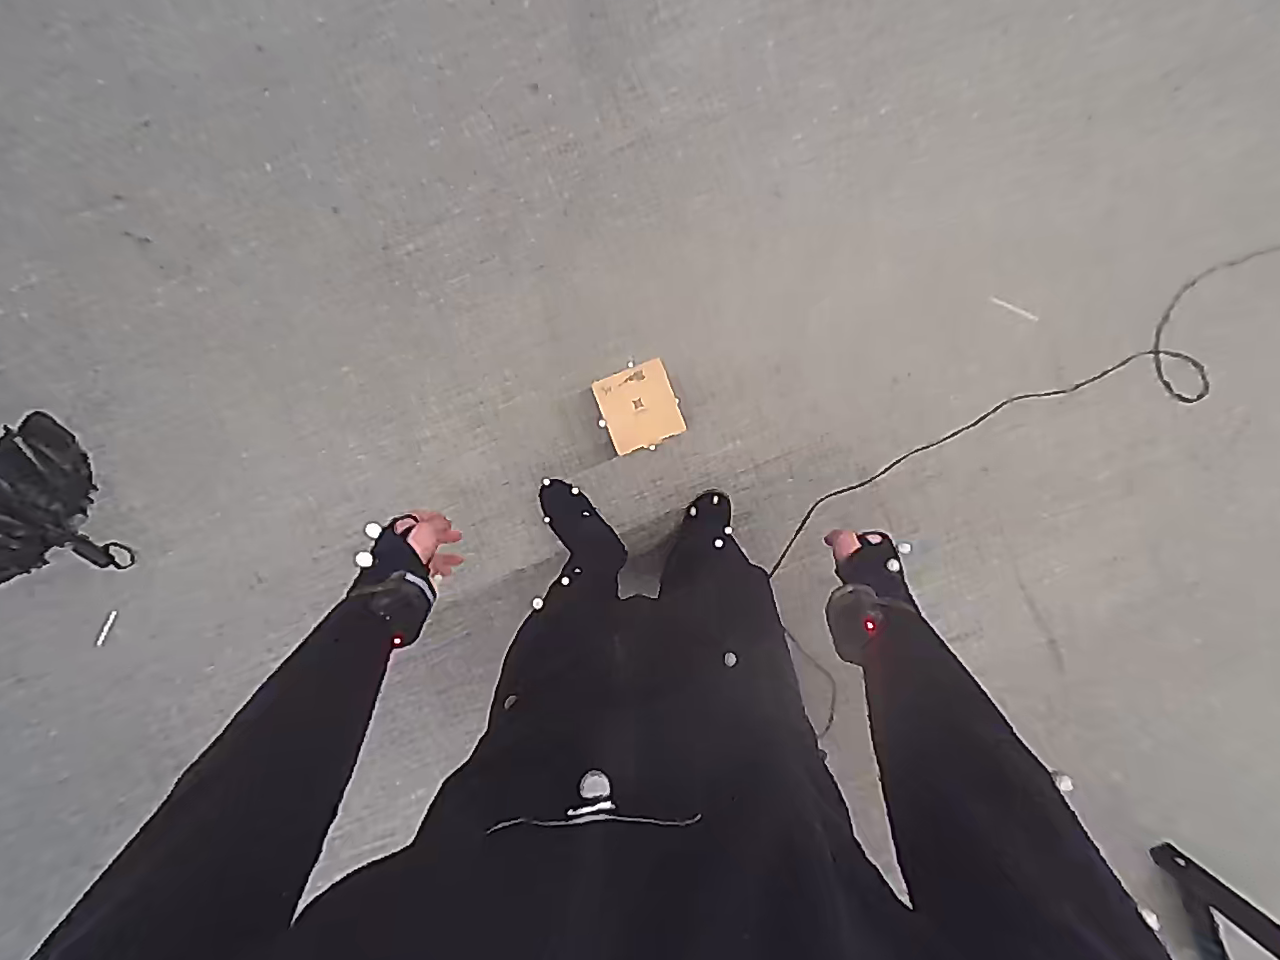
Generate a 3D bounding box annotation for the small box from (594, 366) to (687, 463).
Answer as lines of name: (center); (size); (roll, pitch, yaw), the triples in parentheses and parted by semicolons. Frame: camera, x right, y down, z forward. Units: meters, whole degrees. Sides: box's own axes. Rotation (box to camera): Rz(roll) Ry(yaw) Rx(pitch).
small box: (0.000, -0.155, 1.287); (0.168, 0.176, 0.179); (-22, 96, 0)
